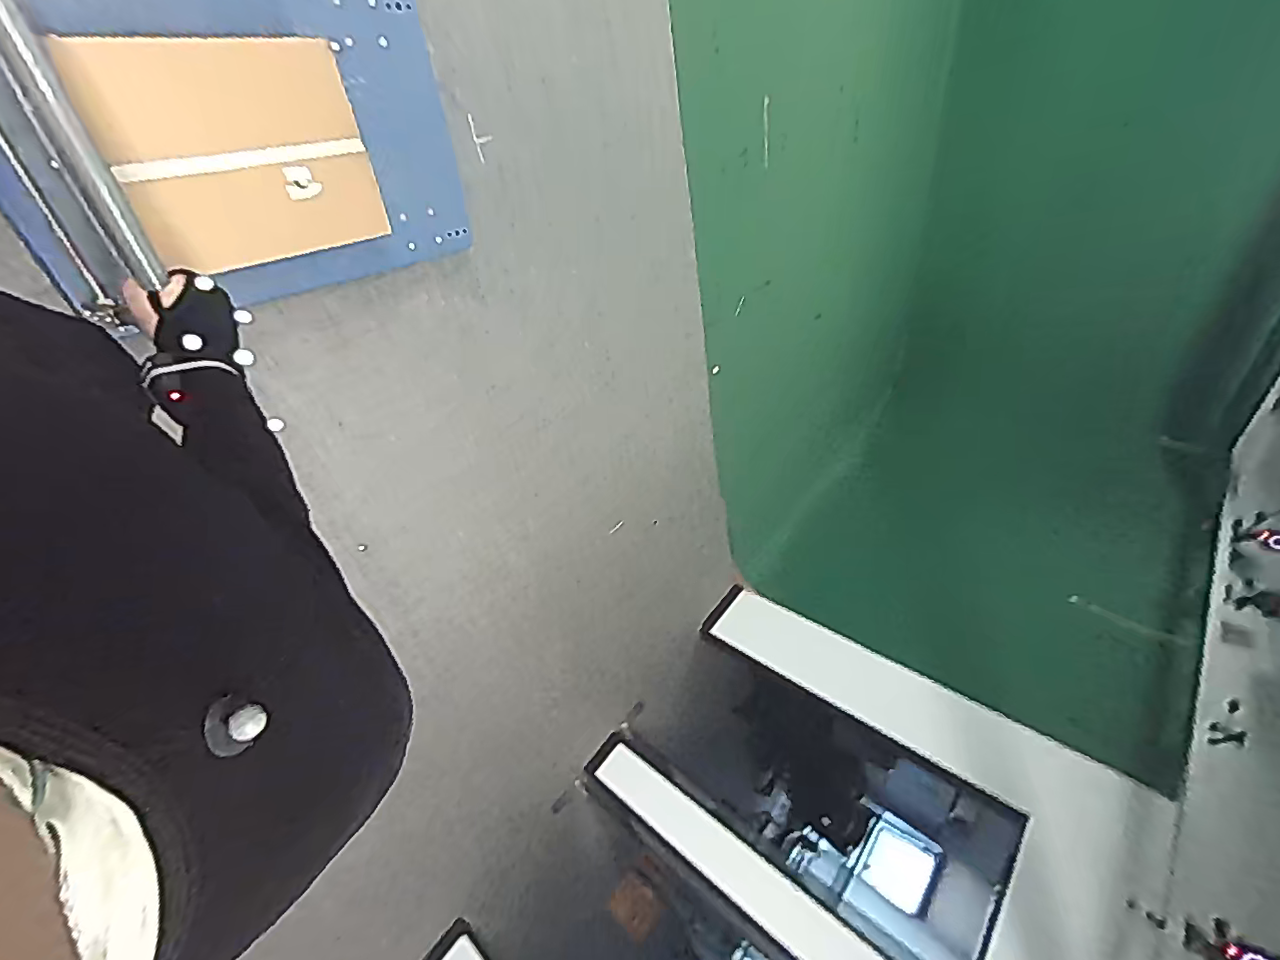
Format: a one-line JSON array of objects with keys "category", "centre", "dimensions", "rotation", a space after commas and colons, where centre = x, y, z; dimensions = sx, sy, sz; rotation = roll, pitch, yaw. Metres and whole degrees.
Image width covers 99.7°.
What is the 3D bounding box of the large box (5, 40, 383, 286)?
[{"category": "large box", "centre": [-0.778, -0.575, 0.987], "dimensions": [0.408, 0.320, 0.320], "rotation": [-37, 134, -36]}]
